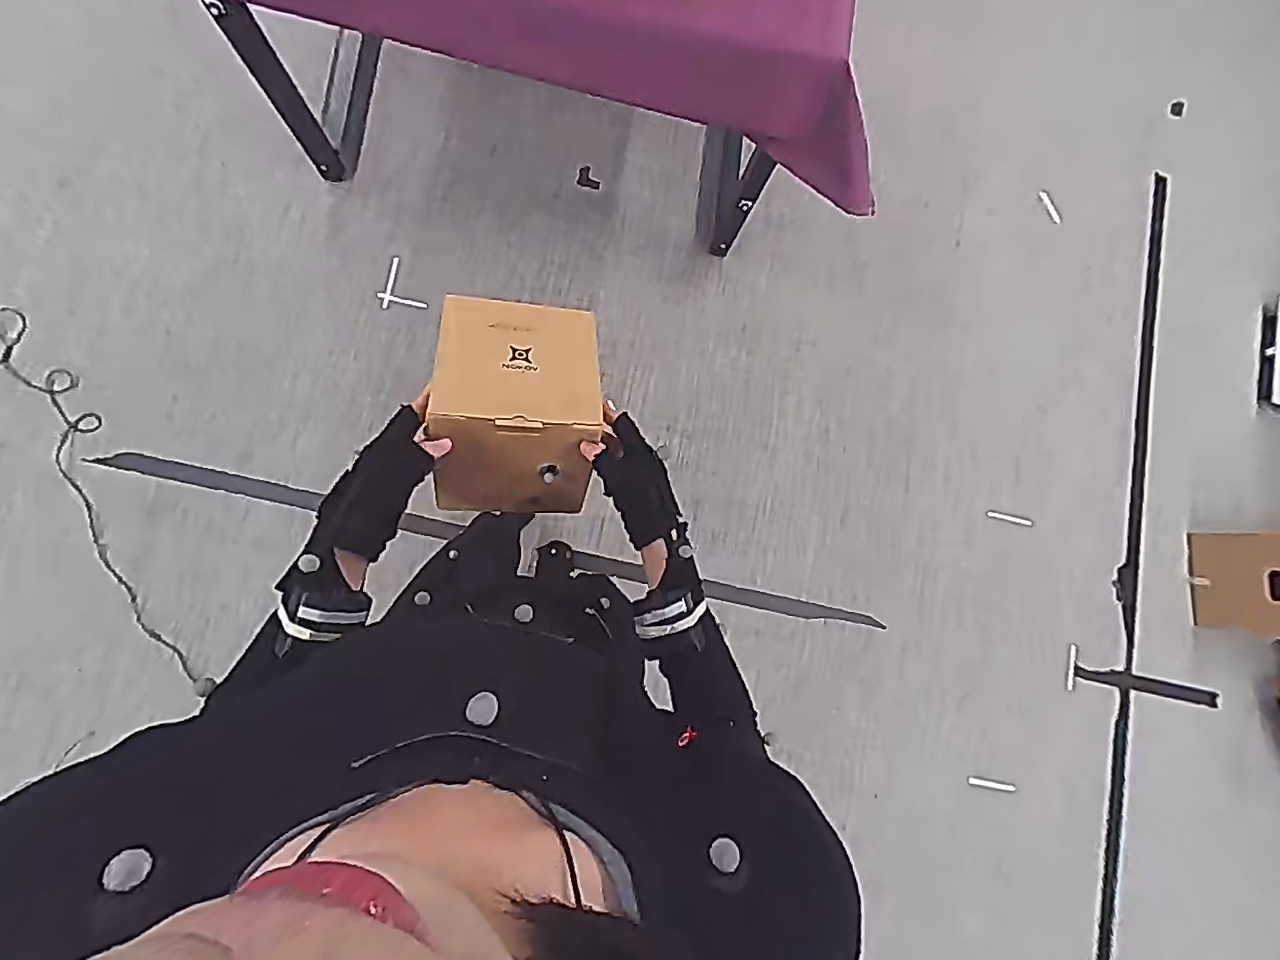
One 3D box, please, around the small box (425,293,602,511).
[{"bbox_3d":[-0.141,-0.079,0.613,0.168,0.176,0.179,4,53,-16],"label":"small box"}]
